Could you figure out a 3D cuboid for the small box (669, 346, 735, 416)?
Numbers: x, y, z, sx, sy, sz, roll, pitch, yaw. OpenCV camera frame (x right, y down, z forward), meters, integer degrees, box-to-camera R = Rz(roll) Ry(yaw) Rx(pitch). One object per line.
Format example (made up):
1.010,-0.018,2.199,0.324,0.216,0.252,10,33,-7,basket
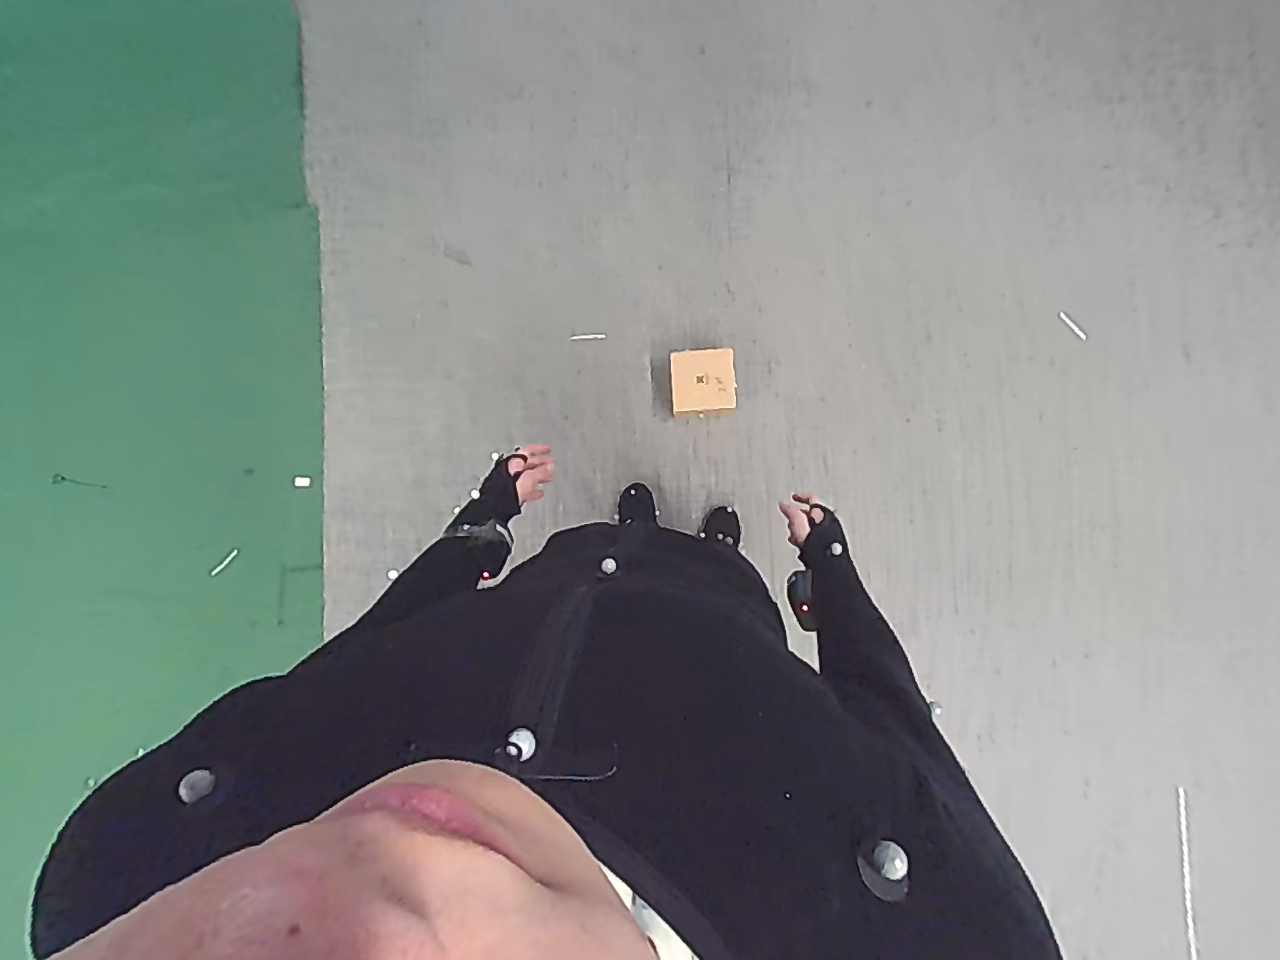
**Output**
0.176,-0.278,1.553,0.179,0.176,0.168,-2,89,4,small box
